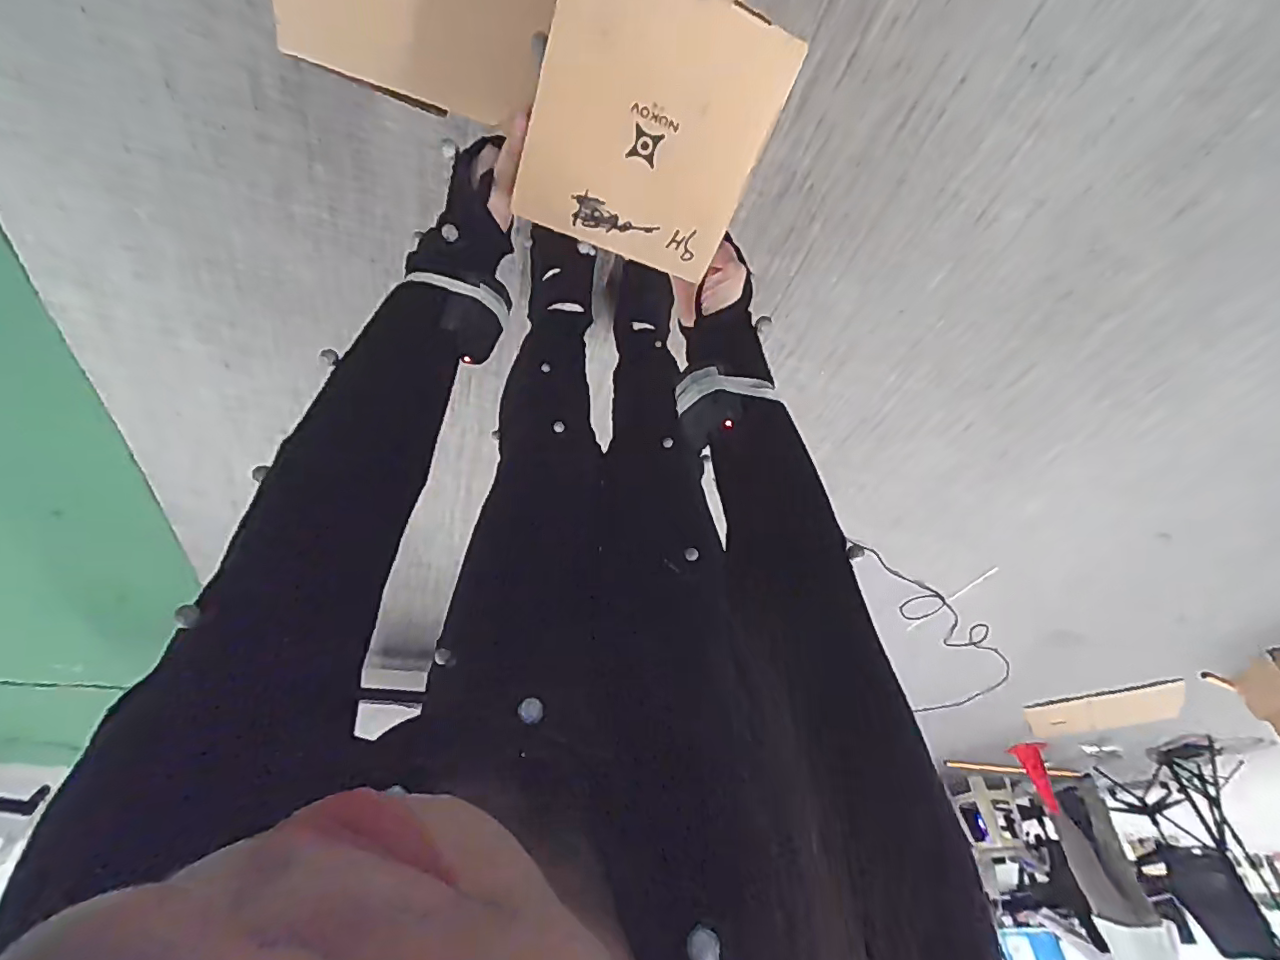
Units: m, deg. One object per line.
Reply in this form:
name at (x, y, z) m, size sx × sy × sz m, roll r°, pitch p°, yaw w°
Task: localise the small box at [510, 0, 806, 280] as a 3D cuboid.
small box at (-0.002, -0.304, 0.448) m, size 0.168 × 0.176 × 0.179 m, roll 15°, pitch 127°, yaw -19°
